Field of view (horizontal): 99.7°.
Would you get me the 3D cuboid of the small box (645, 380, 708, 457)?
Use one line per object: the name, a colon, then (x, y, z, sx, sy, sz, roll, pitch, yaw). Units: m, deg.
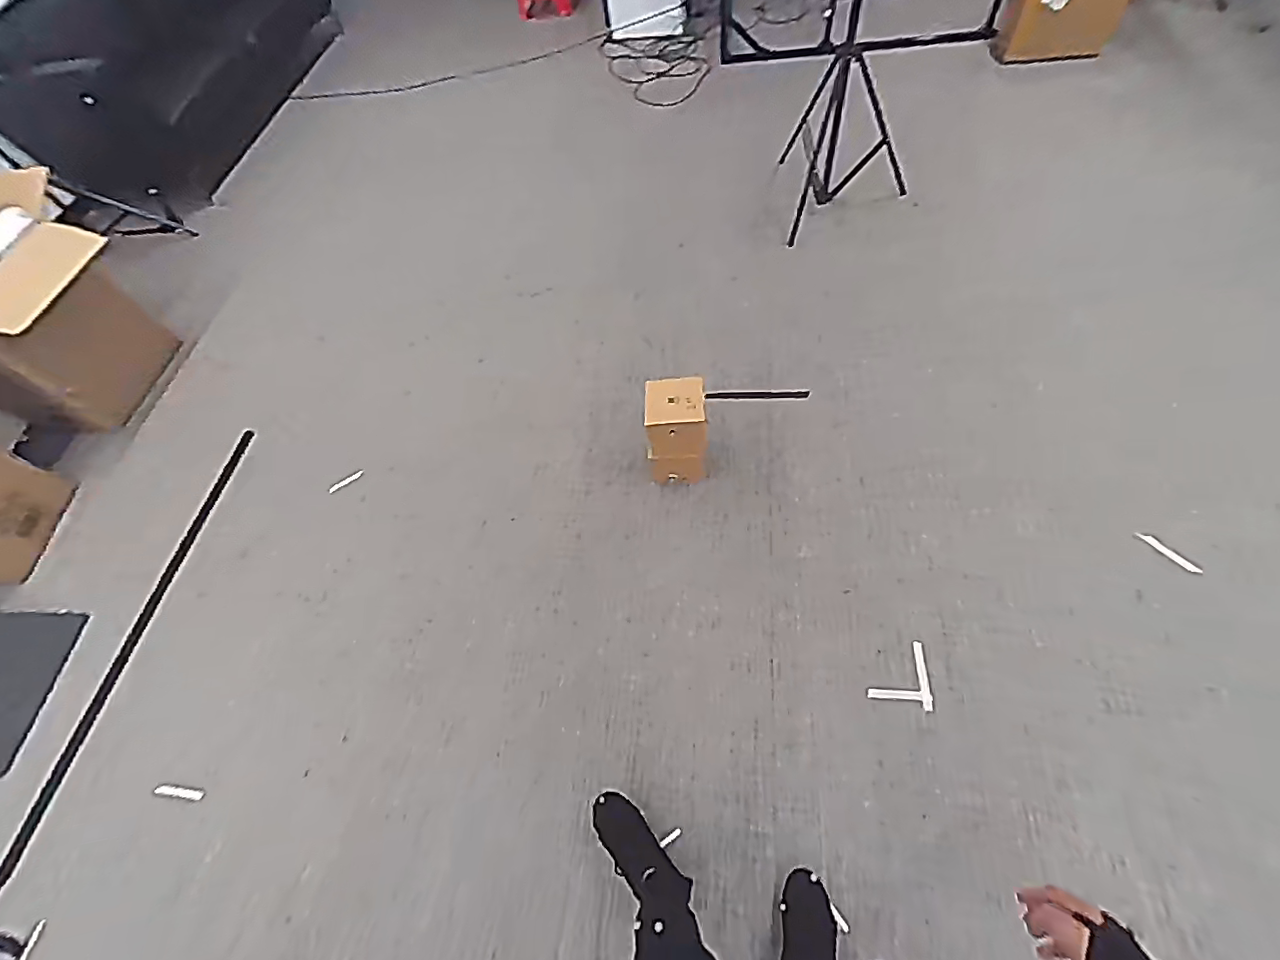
small box: (0.114, -0.182, 1.638, 0.179, 0.176, 0.168, -3, 60, 8)

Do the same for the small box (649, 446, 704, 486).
small box: (0.124, -0.097, 1.779, 0.168, 0.176, 0.179, -2, 60, 9)
